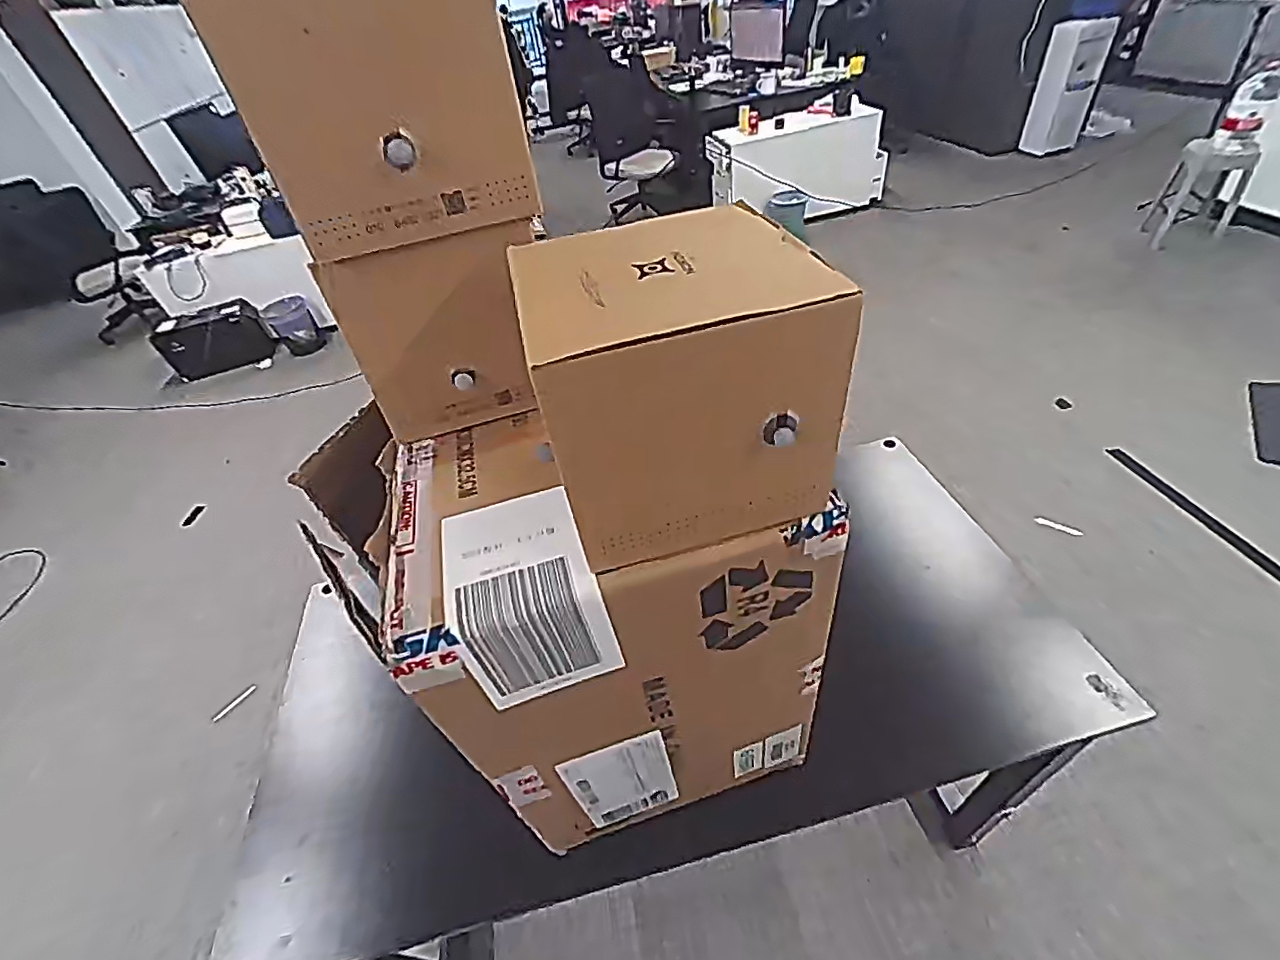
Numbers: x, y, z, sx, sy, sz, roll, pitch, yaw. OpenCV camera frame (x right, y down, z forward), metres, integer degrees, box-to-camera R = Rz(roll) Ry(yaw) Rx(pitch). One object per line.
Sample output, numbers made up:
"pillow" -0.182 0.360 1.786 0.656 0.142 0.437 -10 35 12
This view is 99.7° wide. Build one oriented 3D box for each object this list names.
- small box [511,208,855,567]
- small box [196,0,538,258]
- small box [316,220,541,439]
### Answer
"small box" 0.021 -0.066 0.385 0.179 0.176 0.168 -15 43 -5
"small box" -0.187 -0.286 0.407 0.168 0.176 0.179 -18 42 -10
"small box" -0.176 -0.167 0.521 0.168 0.176 0.179 -17 43 -9
